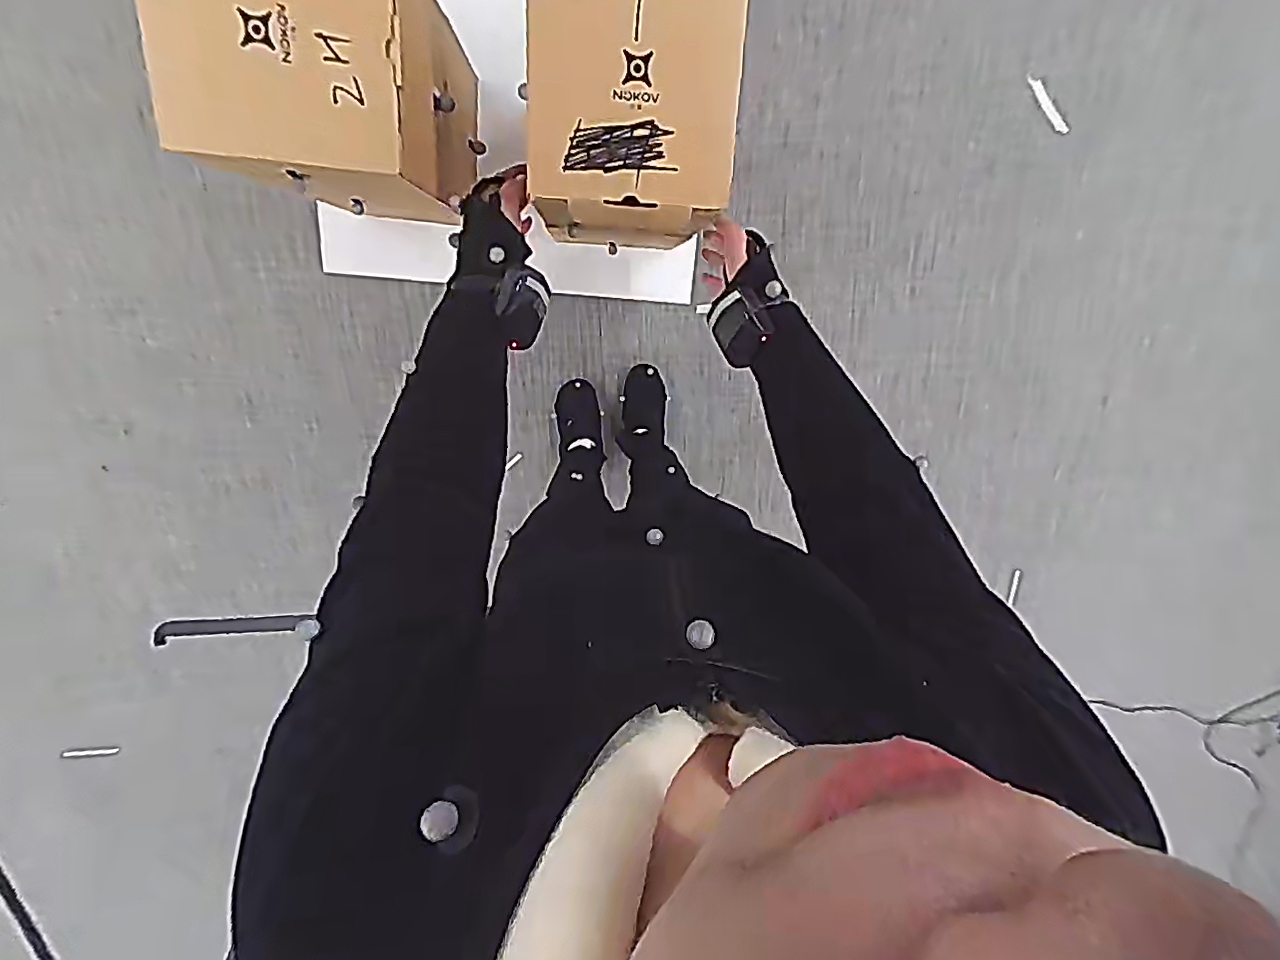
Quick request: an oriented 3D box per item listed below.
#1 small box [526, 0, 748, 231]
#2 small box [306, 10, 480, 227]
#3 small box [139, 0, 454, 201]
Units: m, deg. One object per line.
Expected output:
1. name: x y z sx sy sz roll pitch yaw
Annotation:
1. small box: -0.010 -0.332 0.490 0.168 0.176 0.179 2 108 -5
2. small box: -0.282 -0.403 0.614 0.168 0.176 0.179 4 108 -6
3. small box: -0.269 -0.346 0.460 0.179 0.176 0.168 3 110 -6
